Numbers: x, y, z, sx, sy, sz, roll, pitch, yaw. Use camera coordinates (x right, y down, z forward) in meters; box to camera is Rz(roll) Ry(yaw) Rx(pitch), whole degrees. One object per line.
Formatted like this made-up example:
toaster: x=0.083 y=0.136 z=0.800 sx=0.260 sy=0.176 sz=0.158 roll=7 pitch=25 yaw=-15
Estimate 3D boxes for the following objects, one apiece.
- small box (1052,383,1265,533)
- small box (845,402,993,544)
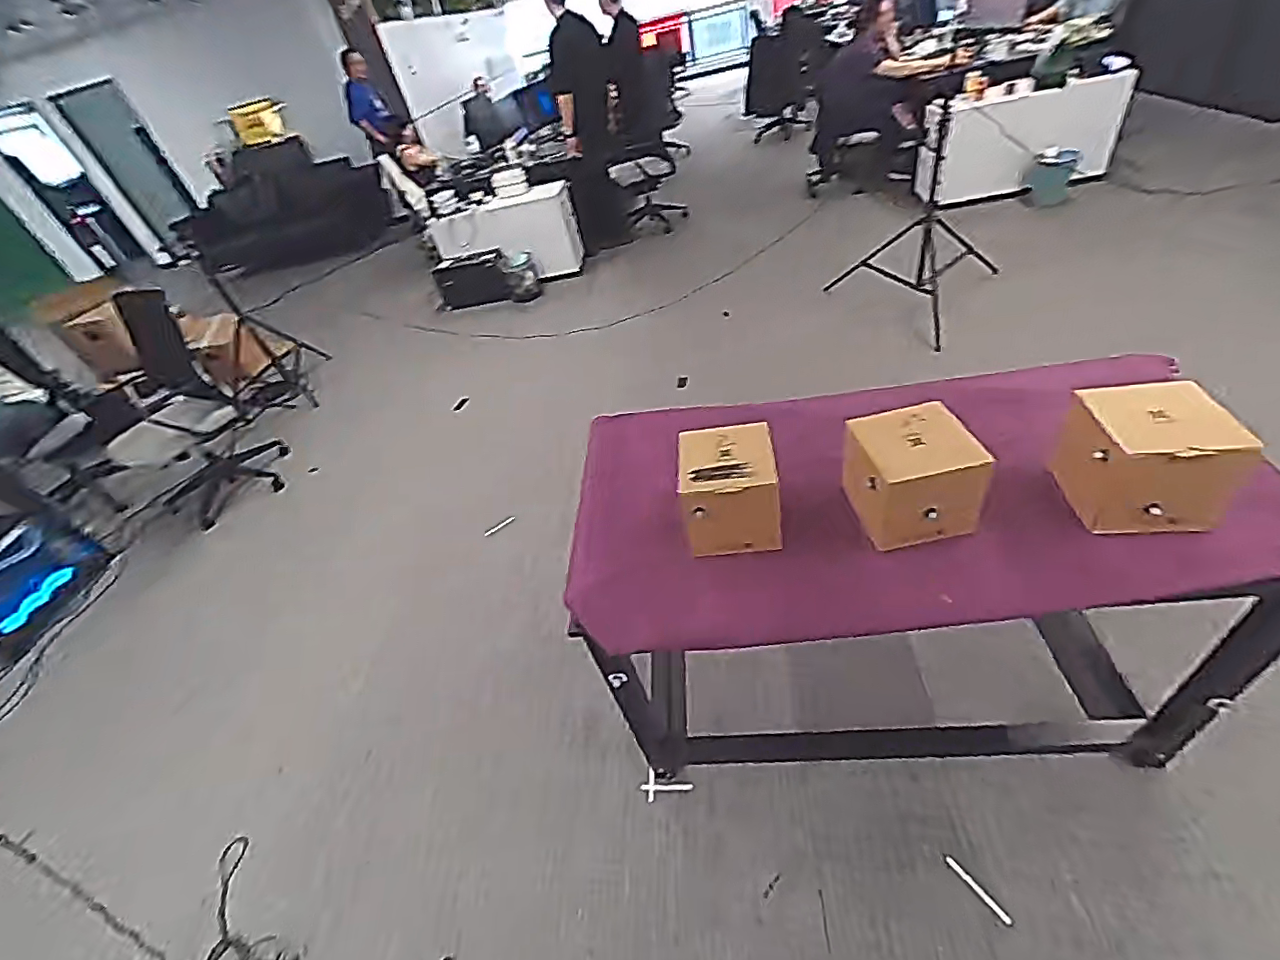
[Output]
small box: x=0.809 y=-0.034 z=0.873 sx=0.168 sy=0.176 sz=0.179 roll=-4 pitch=41 yaw=14
small box: x=0.472 y=-0.006 z=0.945 sx=0.168 sy=0.176 sz=0.179 roll=-12 pitch=40 yaw=3
